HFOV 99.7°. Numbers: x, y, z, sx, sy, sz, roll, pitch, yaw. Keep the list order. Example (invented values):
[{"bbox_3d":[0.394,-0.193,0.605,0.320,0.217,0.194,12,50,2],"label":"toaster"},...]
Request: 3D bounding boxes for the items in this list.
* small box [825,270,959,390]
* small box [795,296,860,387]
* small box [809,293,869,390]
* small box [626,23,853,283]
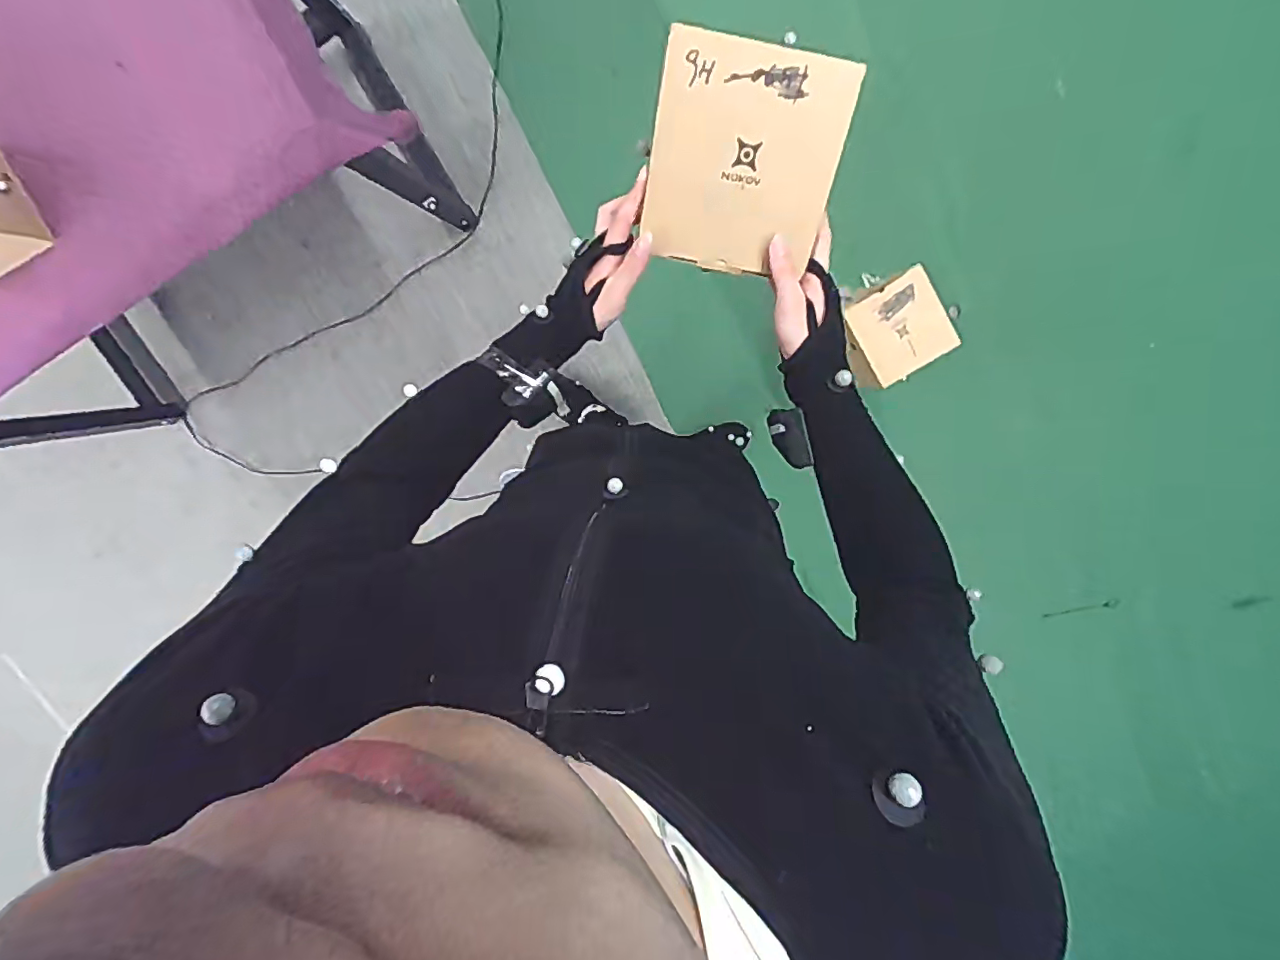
[{"bbox_3d":[0.510,-0.303,1.121,0.168,0.176,0.179,-31,99,10],"label":"small box"},{"bbox_3d":[0.537,-0.368,1.439,0.168,0.176,0.179,-30,99,10],"label":"small box"},{"bbox_3d":[0.526,-0.333,1.281,0.168,0.176,0.179,-28,98,10],"label":"small box"},{"bbox_3d":[0.083,-0.318,0.546,0.168,0.176,0.179,9,120,-5],"label":"small box"}]
